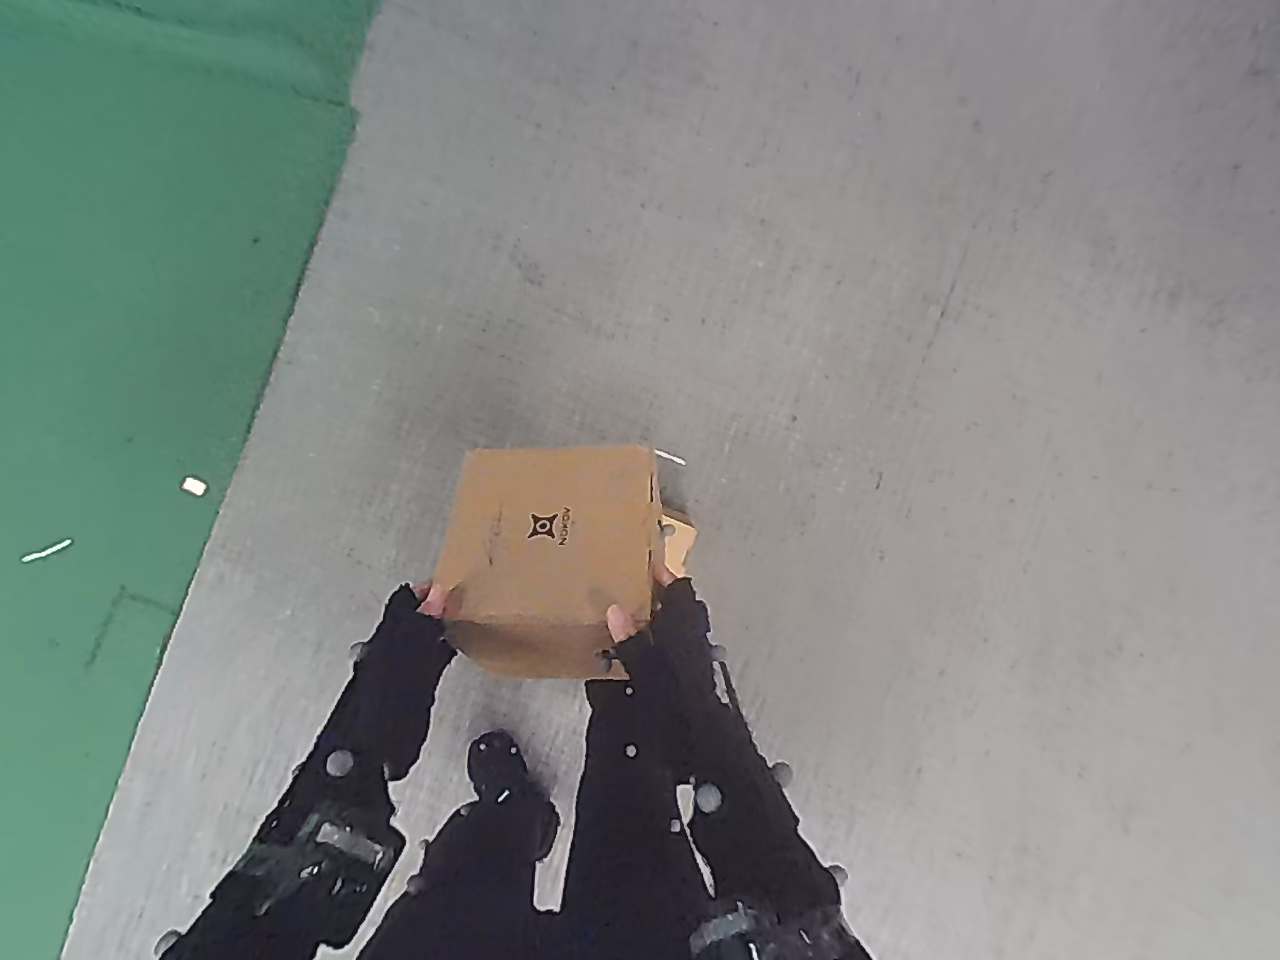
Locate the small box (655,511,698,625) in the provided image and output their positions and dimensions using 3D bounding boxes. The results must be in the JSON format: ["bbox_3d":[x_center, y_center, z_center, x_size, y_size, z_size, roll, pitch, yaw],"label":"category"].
[{"bbox_3d":[-0.015,0.129,0.924,0.179,0.176,0.168,23,90,3],"label":"small box"}]

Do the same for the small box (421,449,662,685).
[{"bbox_3d":[-0.071,0.089,0.510,0.179,0.176,0.168,-5,56,7],"label":"small box"}]
